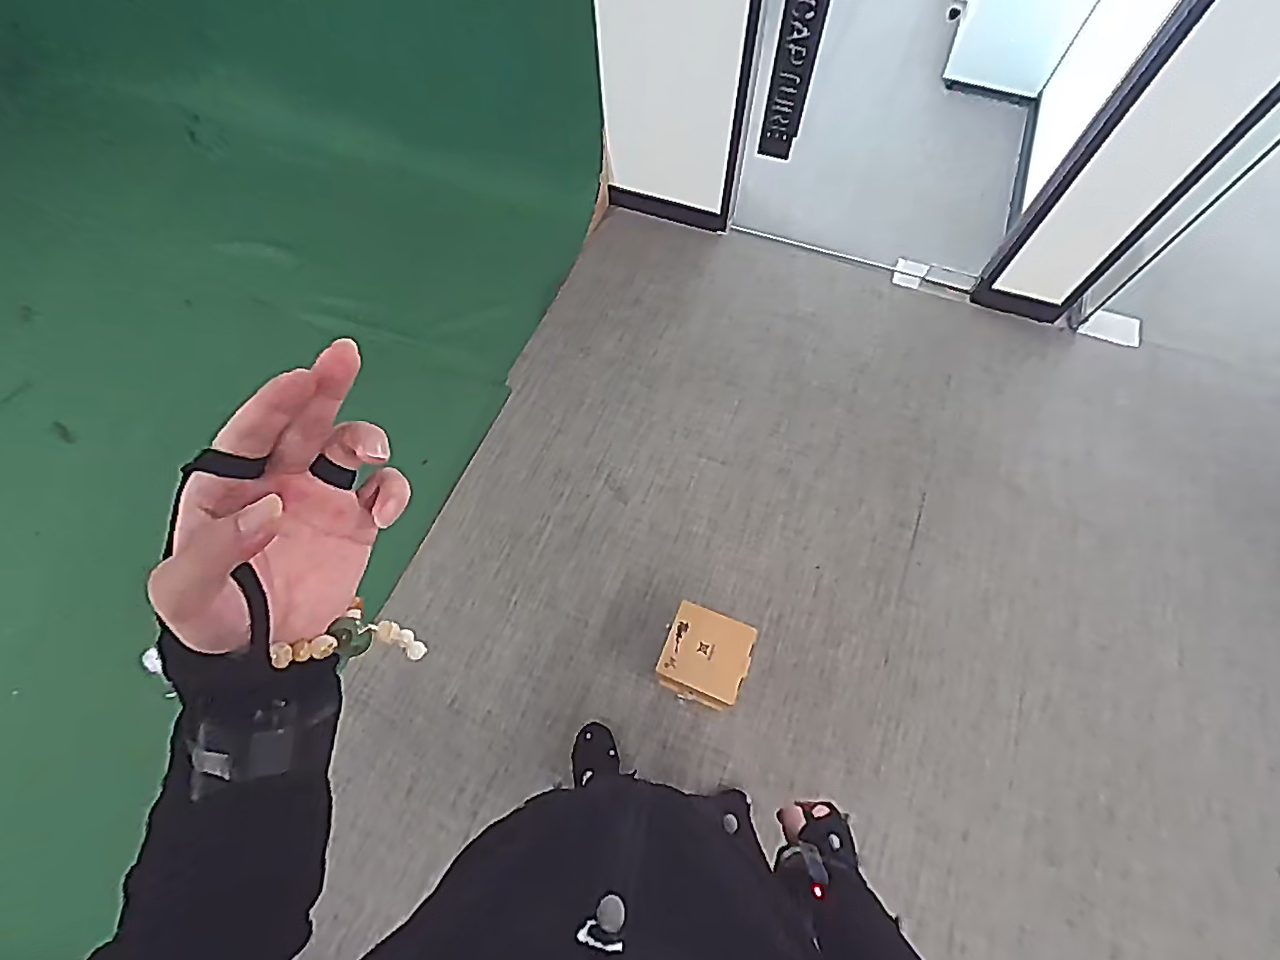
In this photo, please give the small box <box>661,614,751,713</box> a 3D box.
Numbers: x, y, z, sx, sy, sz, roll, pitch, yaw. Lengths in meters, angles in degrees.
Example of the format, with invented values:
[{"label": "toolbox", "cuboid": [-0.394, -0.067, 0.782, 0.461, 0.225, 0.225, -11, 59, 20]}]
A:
[{"label": "small box", "cuboid": [0.160, 0.460, 1.345, 0.168, 0.176, 0.179, 22, 68, 13]}]
